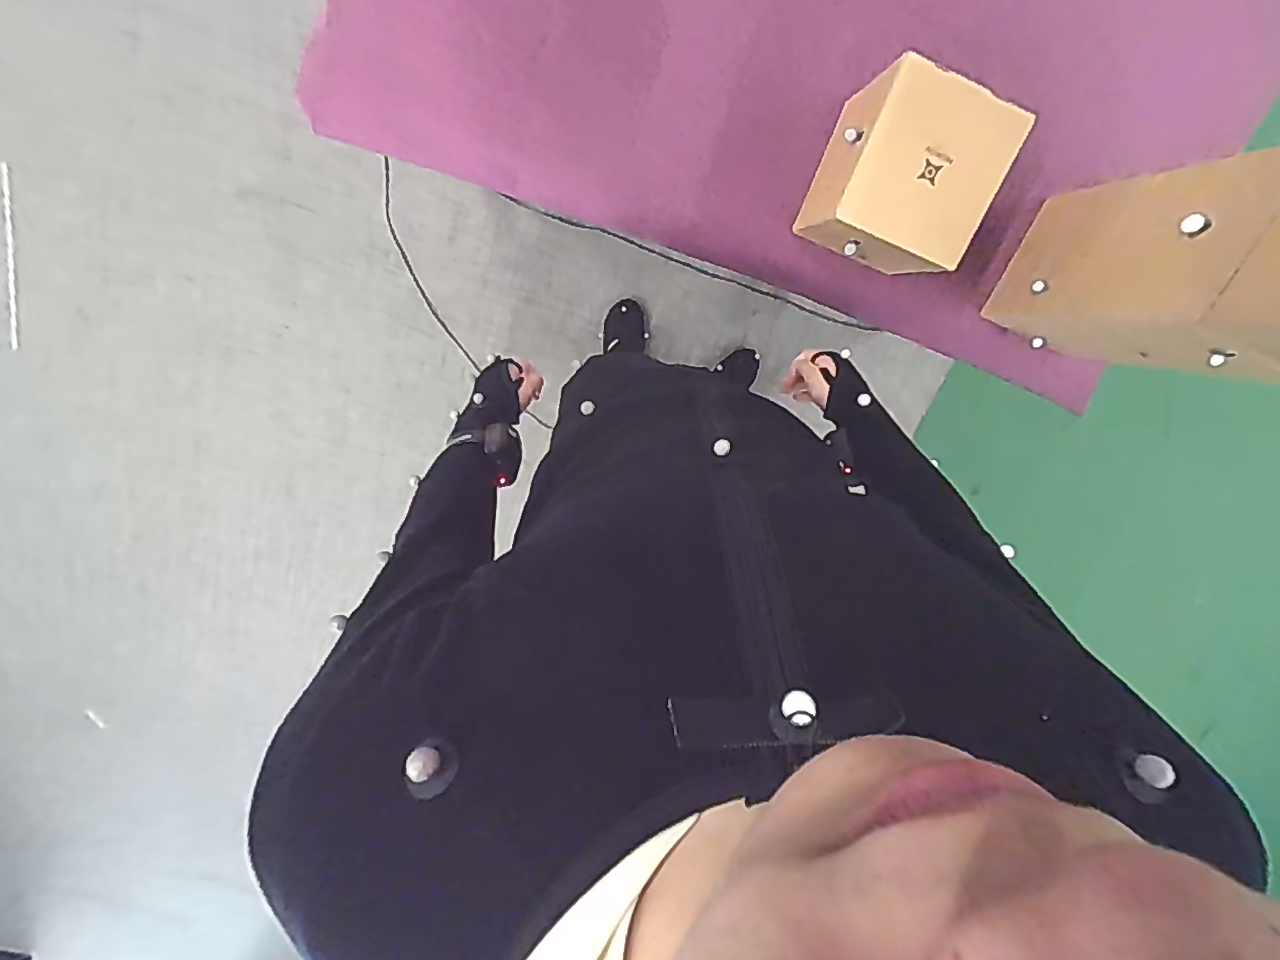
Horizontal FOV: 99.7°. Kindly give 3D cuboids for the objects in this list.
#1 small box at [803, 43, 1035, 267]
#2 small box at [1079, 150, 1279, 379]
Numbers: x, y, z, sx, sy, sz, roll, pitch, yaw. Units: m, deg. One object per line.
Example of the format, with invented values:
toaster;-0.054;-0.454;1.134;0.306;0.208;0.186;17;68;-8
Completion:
small box;0.327;-0.384;0.680;0.168;0.176;0.179;20;107;-8
small box;0.628;-0.222;0.567;0.168;0.176;0.179;21;107;-7
